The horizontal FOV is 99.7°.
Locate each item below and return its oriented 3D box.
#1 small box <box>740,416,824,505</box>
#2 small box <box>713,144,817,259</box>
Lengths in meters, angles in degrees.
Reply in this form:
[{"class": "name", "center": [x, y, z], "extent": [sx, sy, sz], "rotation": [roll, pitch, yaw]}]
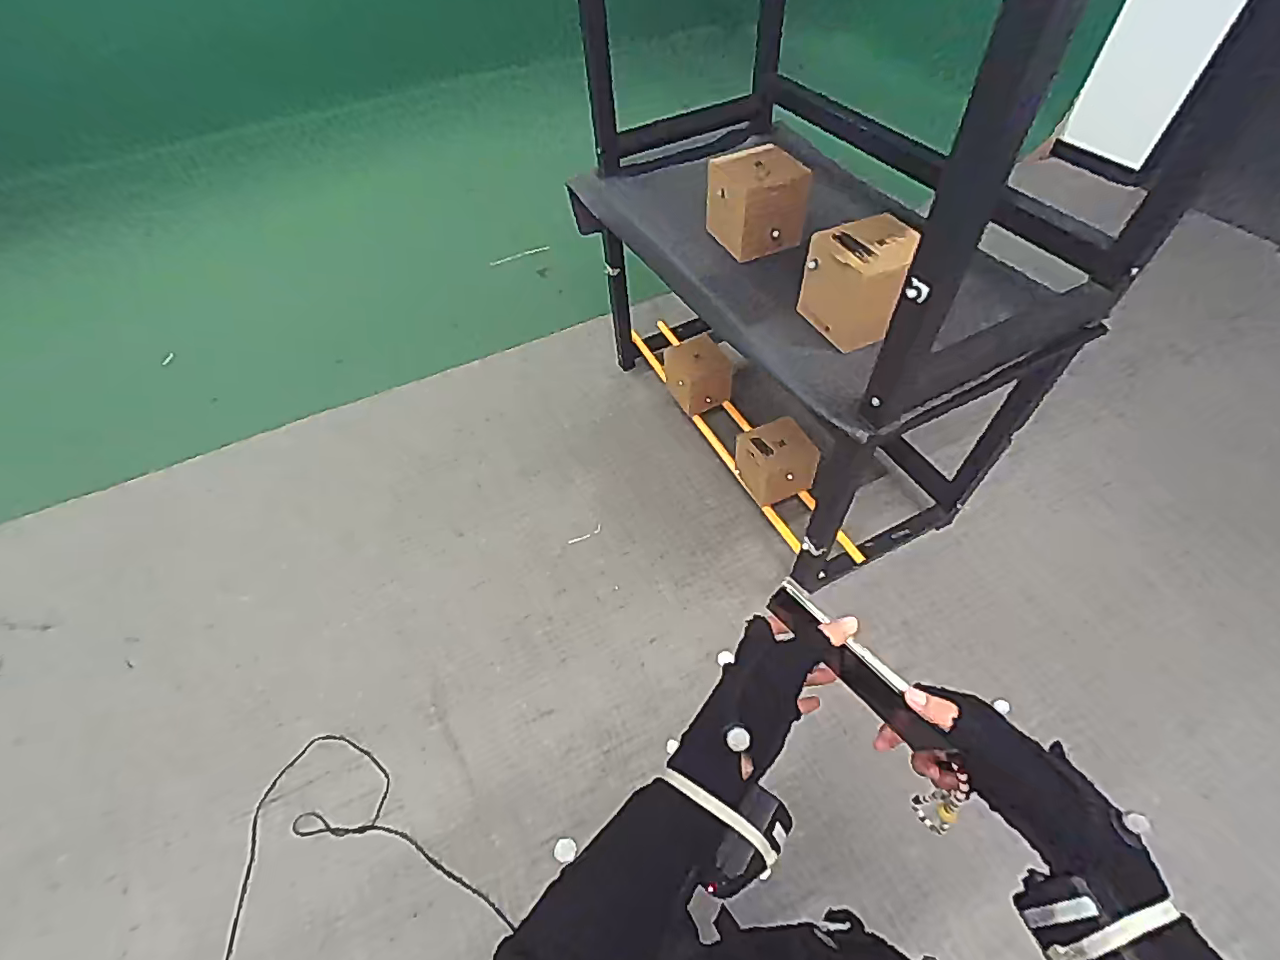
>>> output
[{"class": "small box", "center": [0.406, -0.053, 1.580], "extent": [0.179, 0.176, 0.168], "rotation": [-21, 55, -10]}, {"class": "small box", "center": [0.278, -0.644, 1.254], "extent": [0.168, 0.176, 0.179], "rotation": [-21, 54, -10]}]
